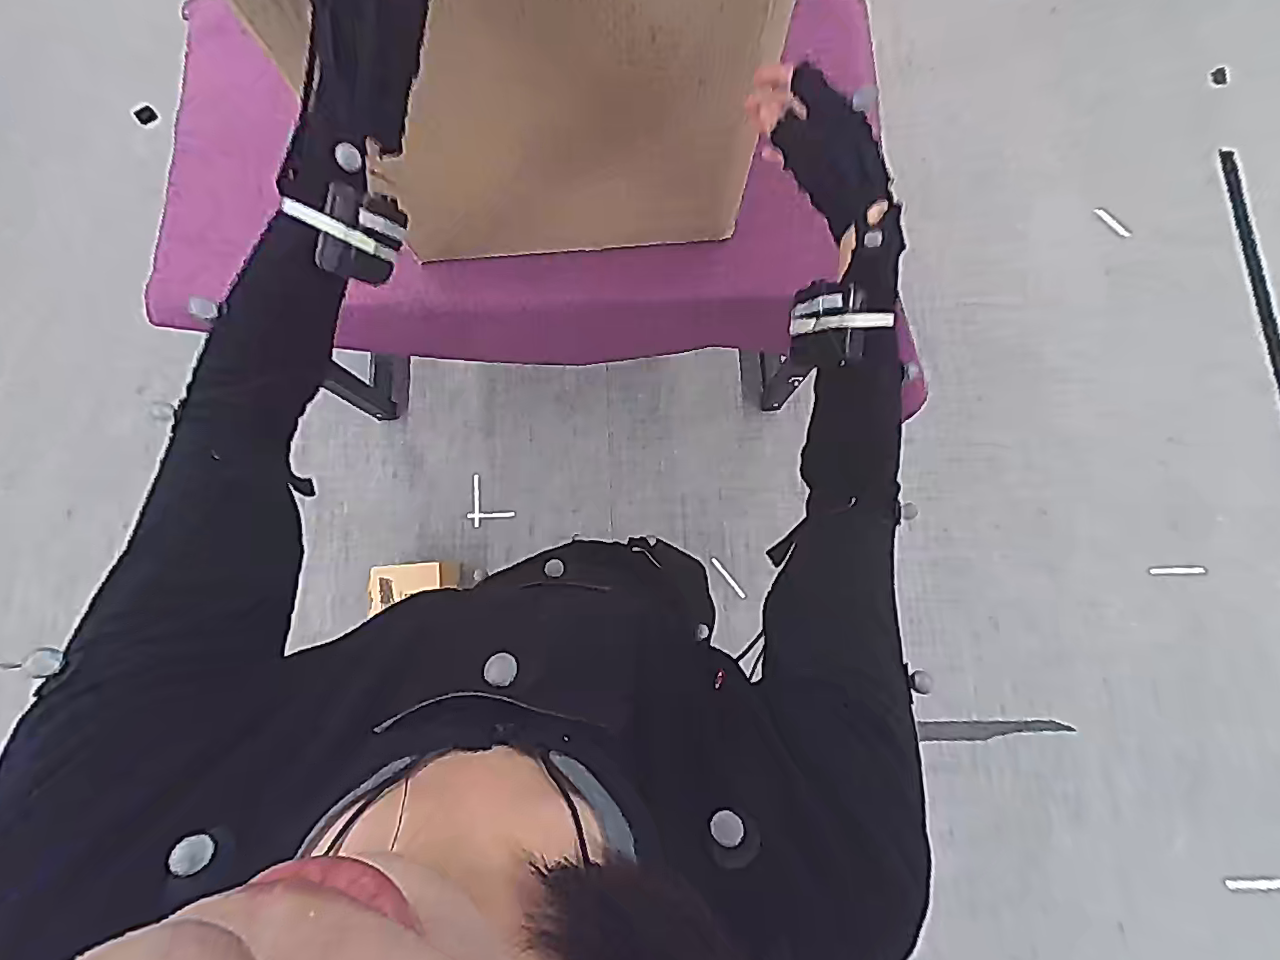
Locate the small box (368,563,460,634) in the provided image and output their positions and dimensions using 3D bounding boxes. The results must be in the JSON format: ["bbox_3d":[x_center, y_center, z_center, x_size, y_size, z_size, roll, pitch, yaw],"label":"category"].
[{"bbox_3d":[-0.589,0.310,1.422,0.179,0.176,0.168,-4,80,-2],"label":"small box"}]
